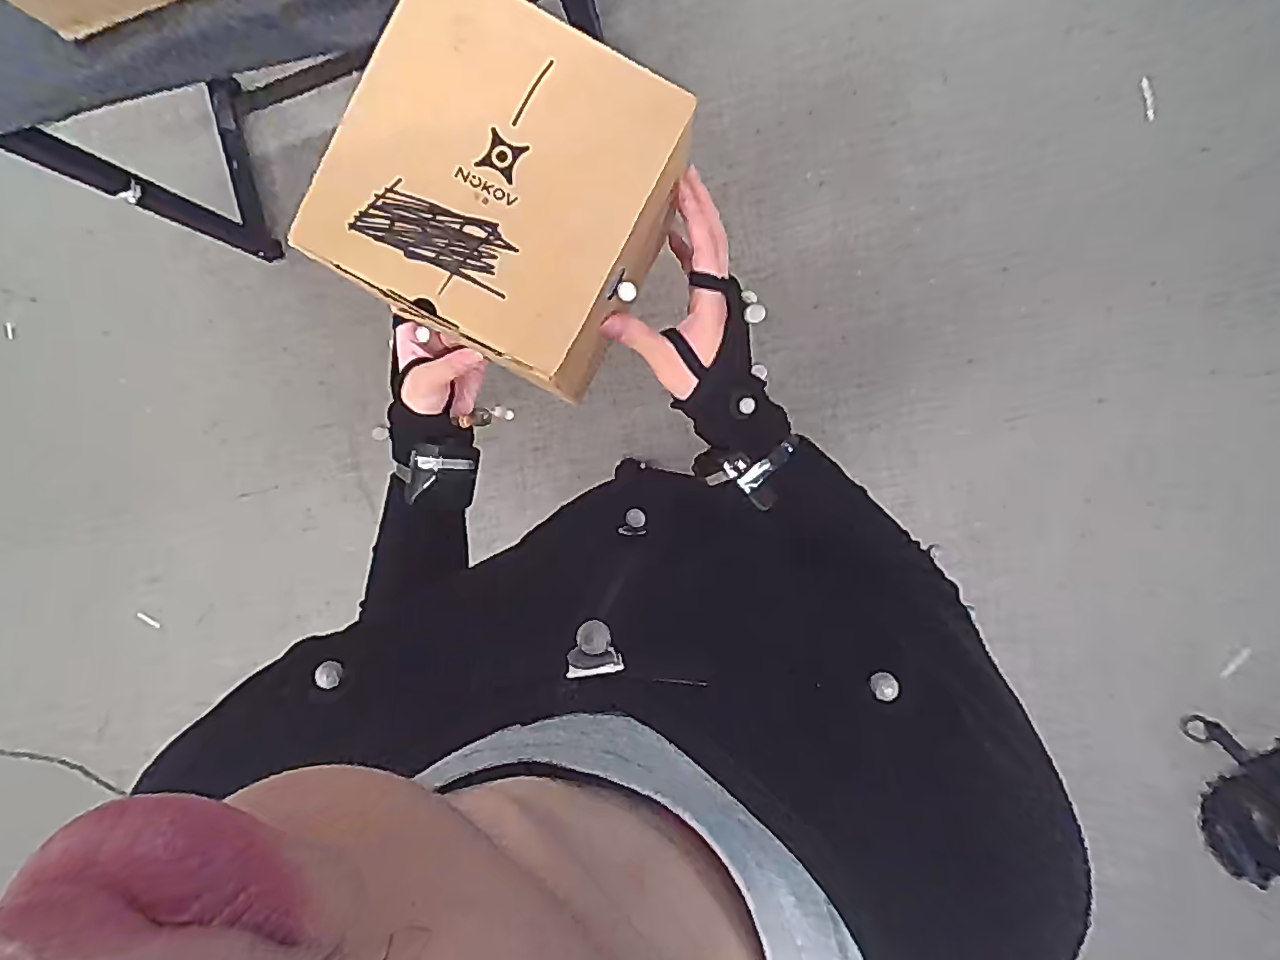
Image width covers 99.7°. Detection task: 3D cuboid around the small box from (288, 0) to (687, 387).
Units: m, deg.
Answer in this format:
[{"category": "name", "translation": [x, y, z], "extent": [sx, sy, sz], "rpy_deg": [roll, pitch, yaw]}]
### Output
[{"category": "small box", "translation": [-0.084, -0.181, 0.375], "extent": [0.168, 0.176, 0.179], "rpy_deg": [28, 92, -3]}]
